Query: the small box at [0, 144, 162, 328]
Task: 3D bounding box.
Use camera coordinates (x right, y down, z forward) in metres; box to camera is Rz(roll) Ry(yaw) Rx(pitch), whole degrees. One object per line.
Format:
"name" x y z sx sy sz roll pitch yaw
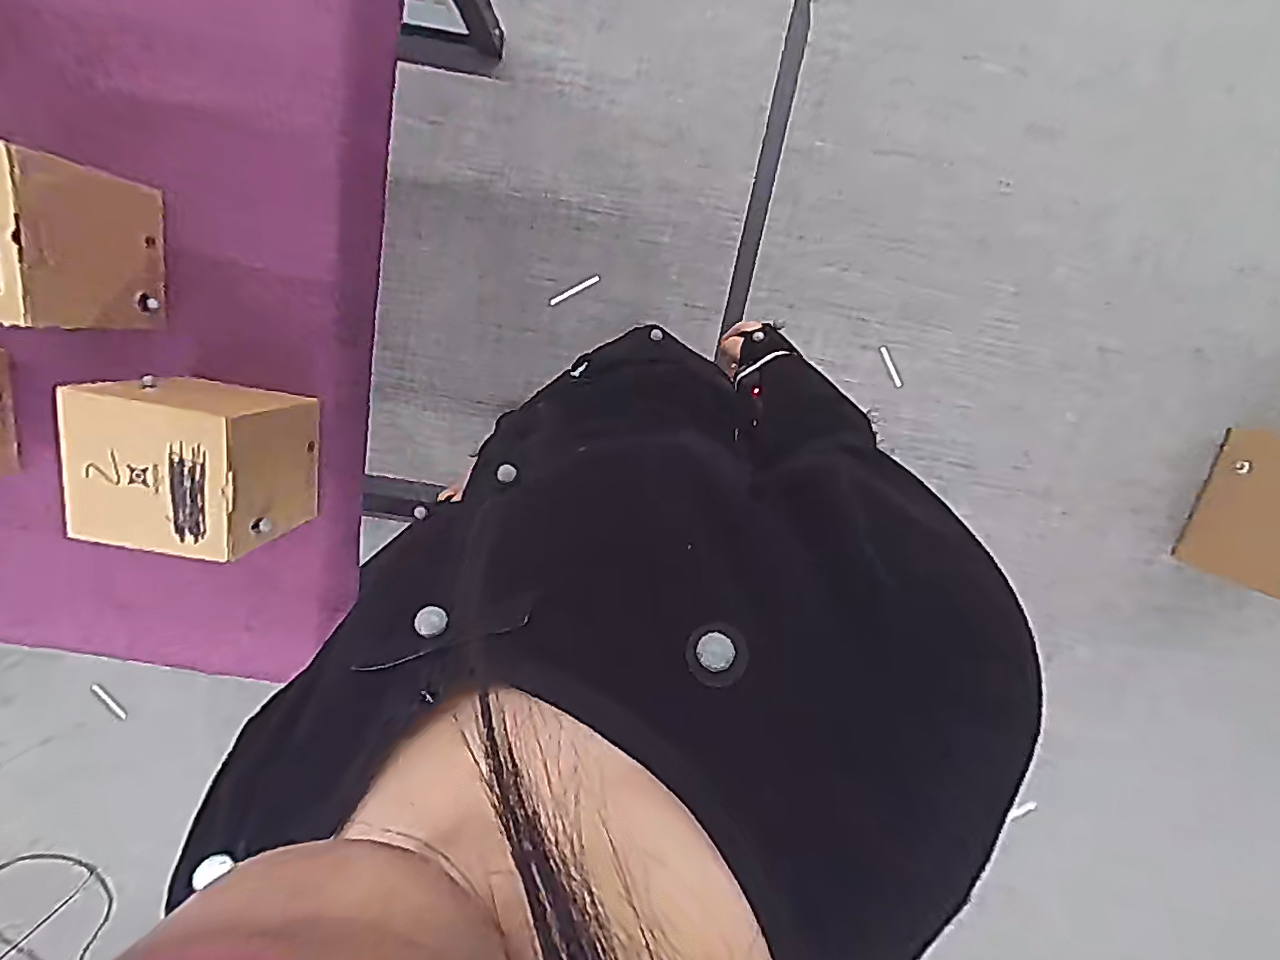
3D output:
"small box" -0.670 -0.264 0.588 0.179 0.176 0.168 10 104 -3

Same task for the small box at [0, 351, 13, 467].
"small box" -0.898 -0.084 0.626 0.179 0.176 0.168 8 103 -6
